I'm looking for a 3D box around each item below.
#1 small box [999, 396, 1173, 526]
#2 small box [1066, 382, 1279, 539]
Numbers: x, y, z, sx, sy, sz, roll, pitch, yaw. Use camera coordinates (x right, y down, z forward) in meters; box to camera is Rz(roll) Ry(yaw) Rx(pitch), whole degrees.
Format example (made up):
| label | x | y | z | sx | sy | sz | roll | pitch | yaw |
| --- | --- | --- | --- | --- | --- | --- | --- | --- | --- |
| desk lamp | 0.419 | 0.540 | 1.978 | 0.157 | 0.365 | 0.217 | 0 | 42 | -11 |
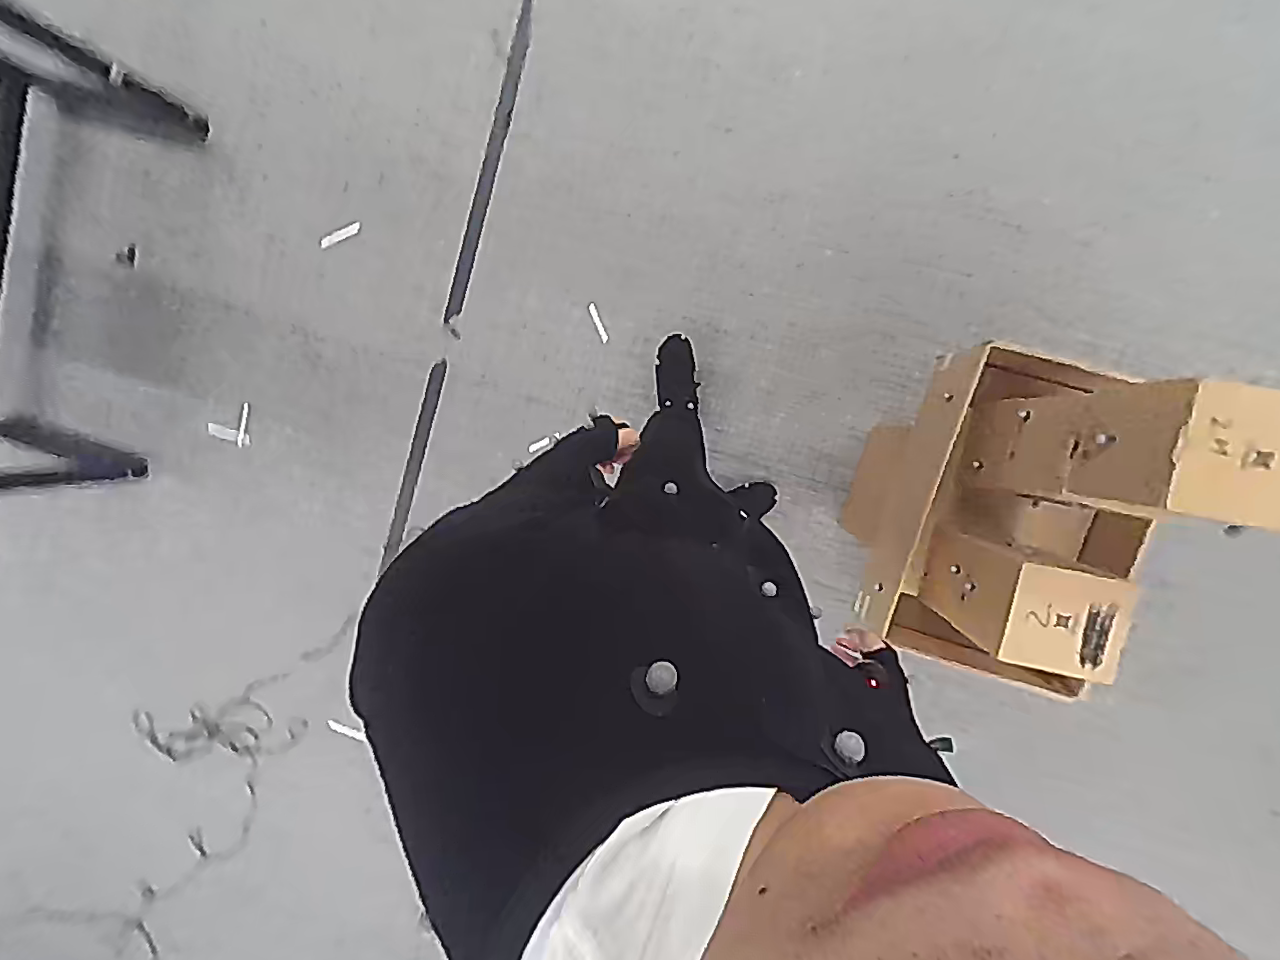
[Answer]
| label | x | y | z | sx | sy | sz | roll | pitch | yaw |
| --- | --- | --- | --- | --- | --- | --- | --- | --- | --- |
| small box | 0.742 | -0.035 | 0.894 | 0.179 | 0.176 | 0.168 | 13 | 97 | 3 |
| small box | 0.737 | -0.030 | 0.728 | 0.179 | 0.176 | 0.168 | 12 | 96 | 3 |
